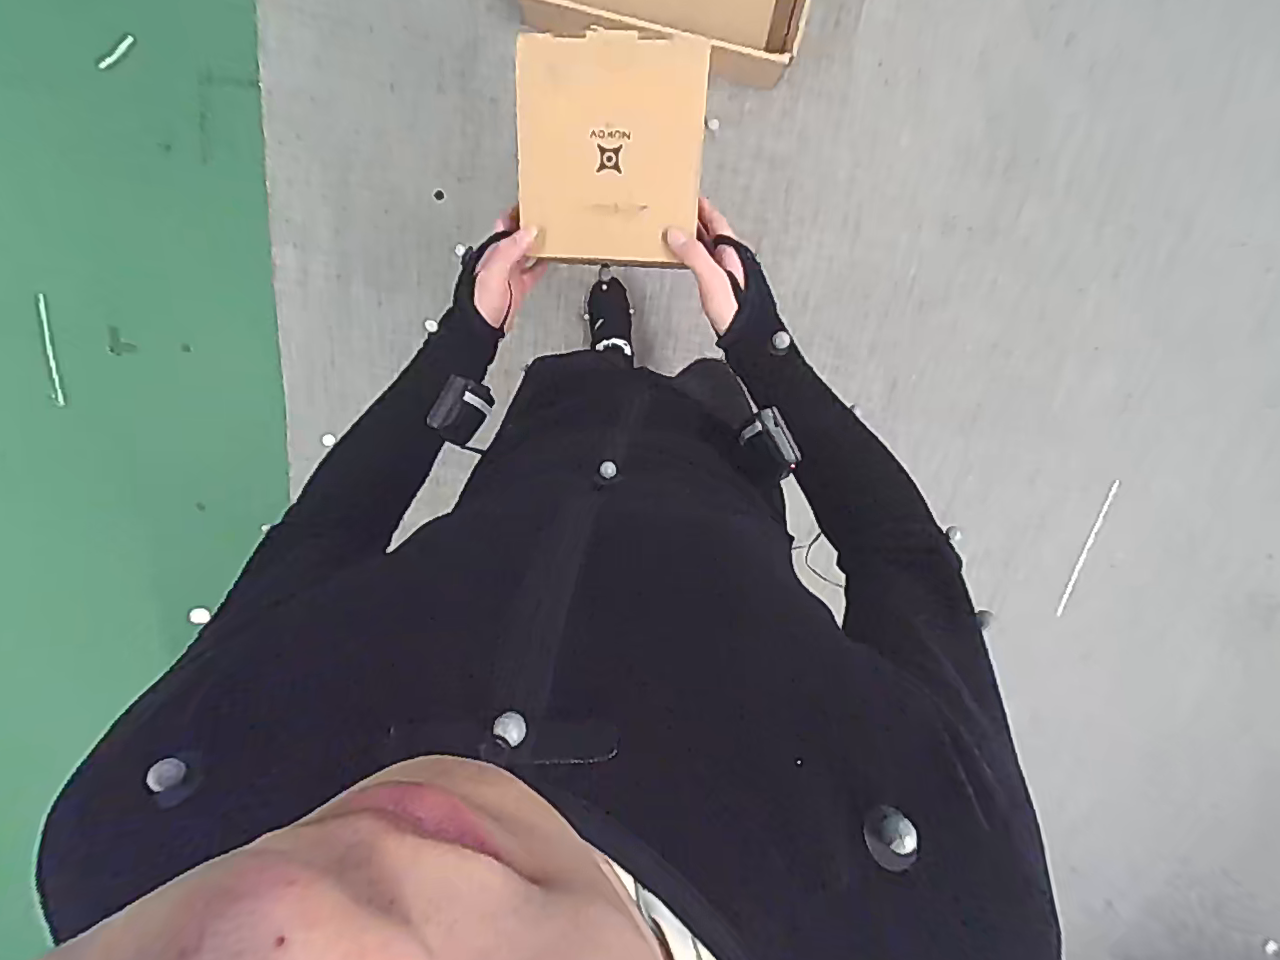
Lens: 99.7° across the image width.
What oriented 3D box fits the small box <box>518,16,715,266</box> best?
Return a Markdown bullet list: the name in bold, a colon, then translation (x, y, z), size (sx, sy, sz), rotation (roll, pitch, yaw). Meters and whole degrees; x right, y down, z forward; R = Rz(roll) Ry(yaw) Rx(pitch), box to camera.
- **small box**: translation (-0.021, -0.317, 0.542), size (0.168, 0.176, 0.179), rotation (4, 109, 2)
